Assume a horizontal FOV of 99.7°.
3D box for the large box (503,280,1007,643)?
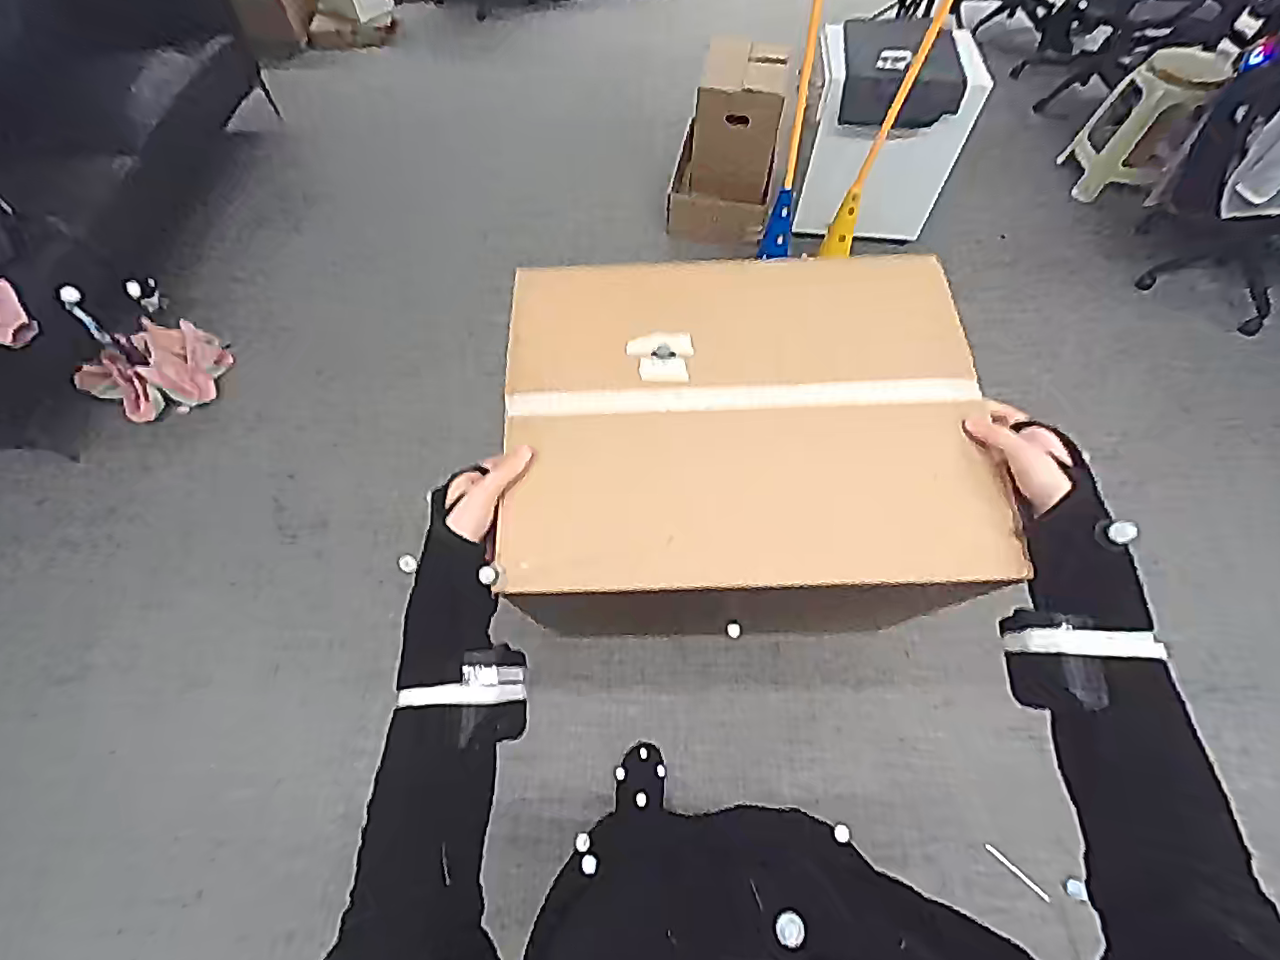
[{"bbox_3d":[0.091,0.008,0.617,0.408,0.320,0.320,-2,66,1],"label":"large box"}]
